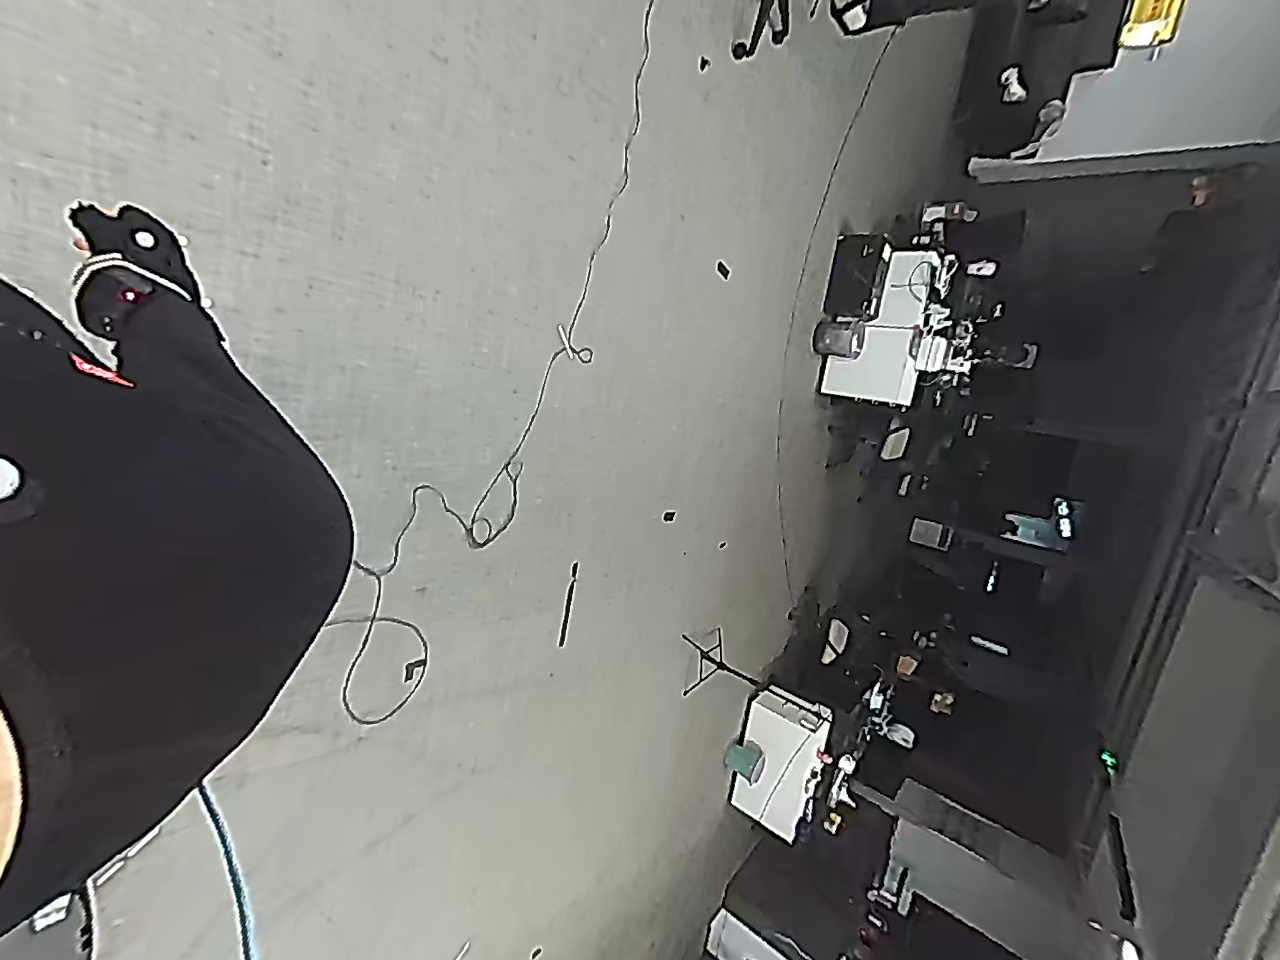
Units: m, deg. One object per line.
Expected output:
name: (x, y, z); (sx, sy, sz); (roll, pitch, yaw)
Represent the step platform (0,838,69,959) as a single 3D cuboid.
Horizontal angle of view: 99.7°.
step platform: (-1.437, 0.939, 0.891); (0.684, 0.204, 0.286); (-6, 108, -51)
